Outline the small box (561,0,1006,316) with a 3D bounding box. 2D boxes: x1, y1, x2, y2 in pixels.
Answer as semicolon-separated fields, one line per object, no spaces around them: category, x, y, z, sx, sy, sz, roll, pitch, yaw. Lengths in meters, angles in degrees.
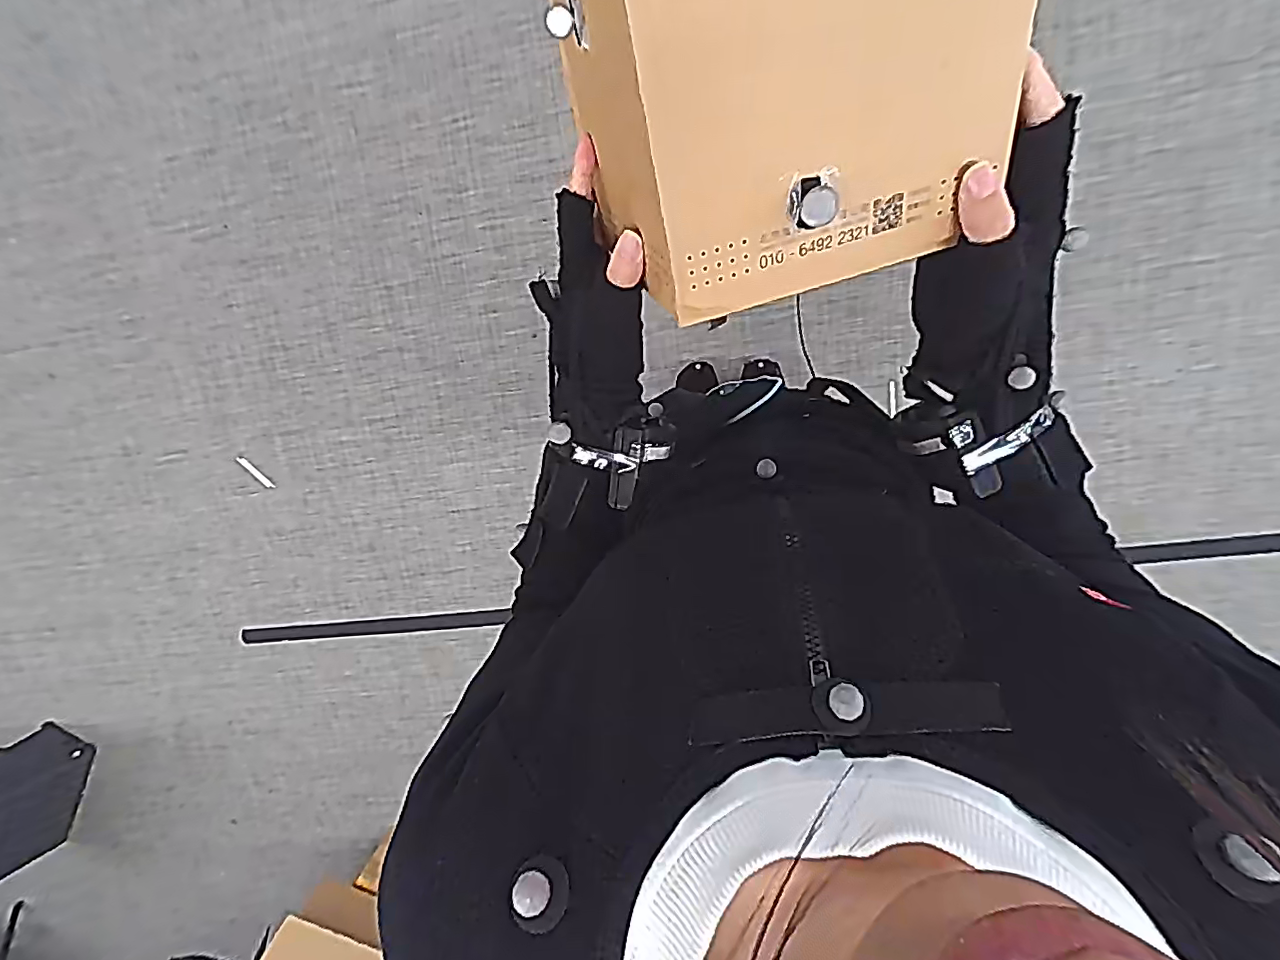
small box;0.060;-0.209;0.294;0.168;0.179;0.176;-18;127;-3
